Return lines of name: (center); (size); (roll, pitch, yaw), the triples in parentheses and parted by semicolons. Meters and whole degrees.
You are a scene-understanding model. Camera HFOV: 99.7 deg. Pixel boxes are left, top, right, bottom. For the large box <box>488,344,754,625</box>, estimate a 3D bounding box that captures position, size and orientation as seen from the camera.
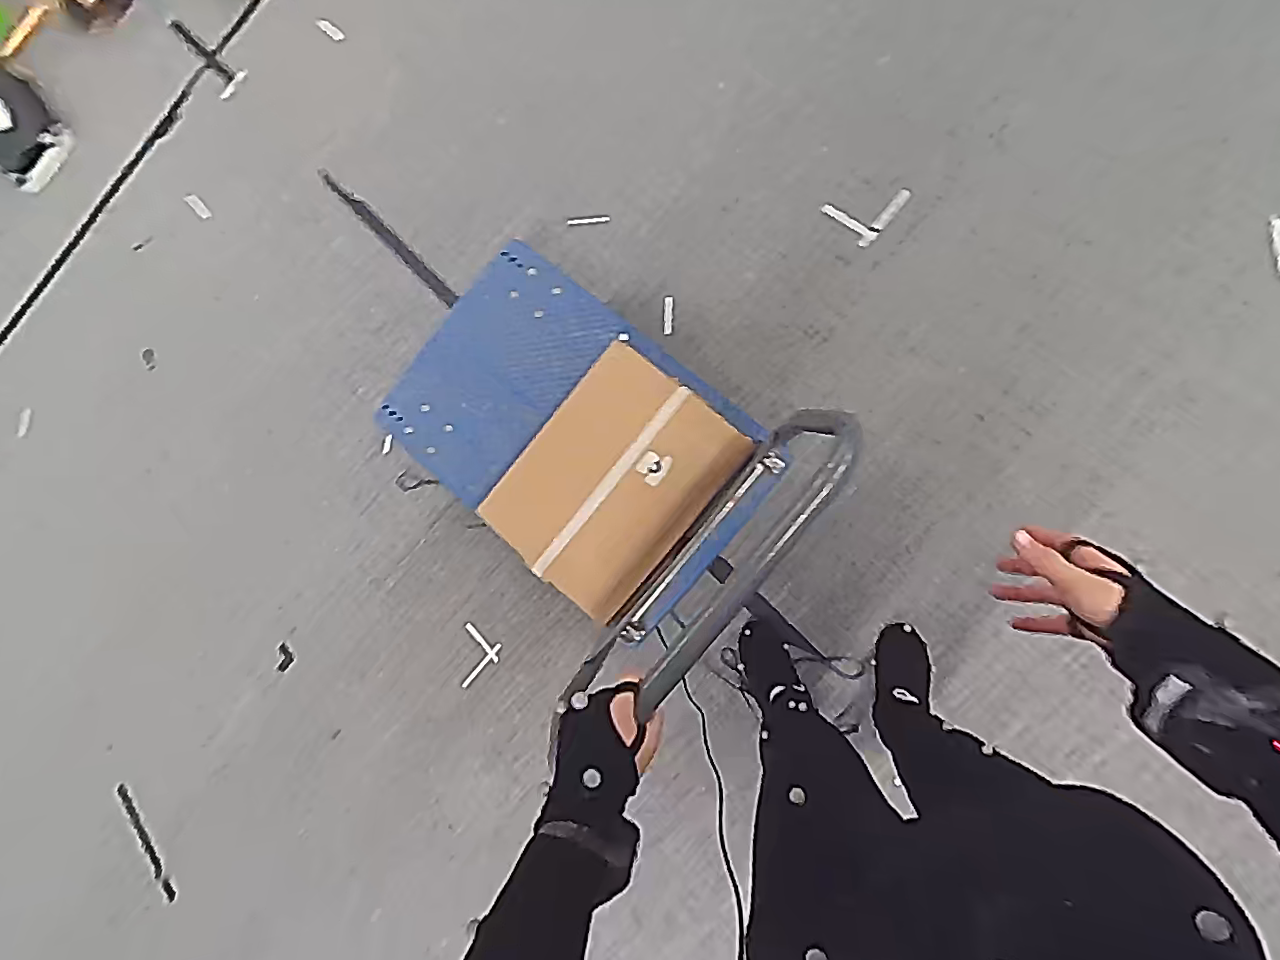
large box: (-0.019, 0.017, 1.089); (0.320, 0.320, 0.408); (40, 92, 9)
